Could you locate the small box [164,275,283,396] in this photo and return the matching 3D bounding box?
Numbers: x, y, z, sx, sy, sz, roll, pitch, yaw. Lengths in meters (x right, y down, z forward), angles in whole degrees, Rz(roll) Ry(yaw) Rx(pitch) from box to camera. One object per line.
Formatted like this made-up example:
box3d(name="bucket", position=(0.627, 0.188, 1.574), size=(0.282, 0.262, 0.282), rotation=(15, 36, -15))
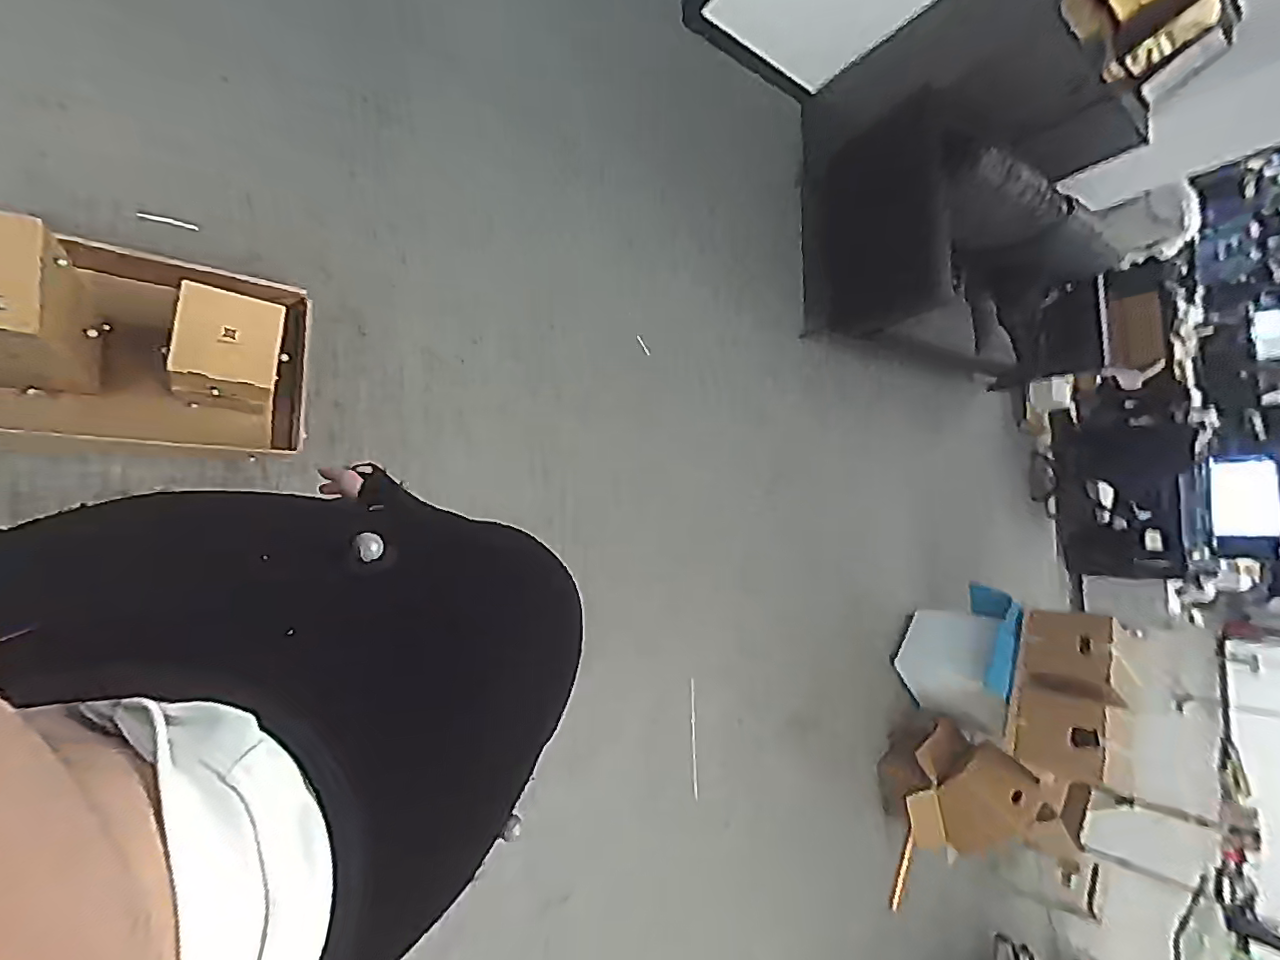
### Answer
box3d(name="small box", position=(-0.850, -0.285, 1.108), size=(0.168, 0.176, 0.179), rotation=(9, 83, -37))
